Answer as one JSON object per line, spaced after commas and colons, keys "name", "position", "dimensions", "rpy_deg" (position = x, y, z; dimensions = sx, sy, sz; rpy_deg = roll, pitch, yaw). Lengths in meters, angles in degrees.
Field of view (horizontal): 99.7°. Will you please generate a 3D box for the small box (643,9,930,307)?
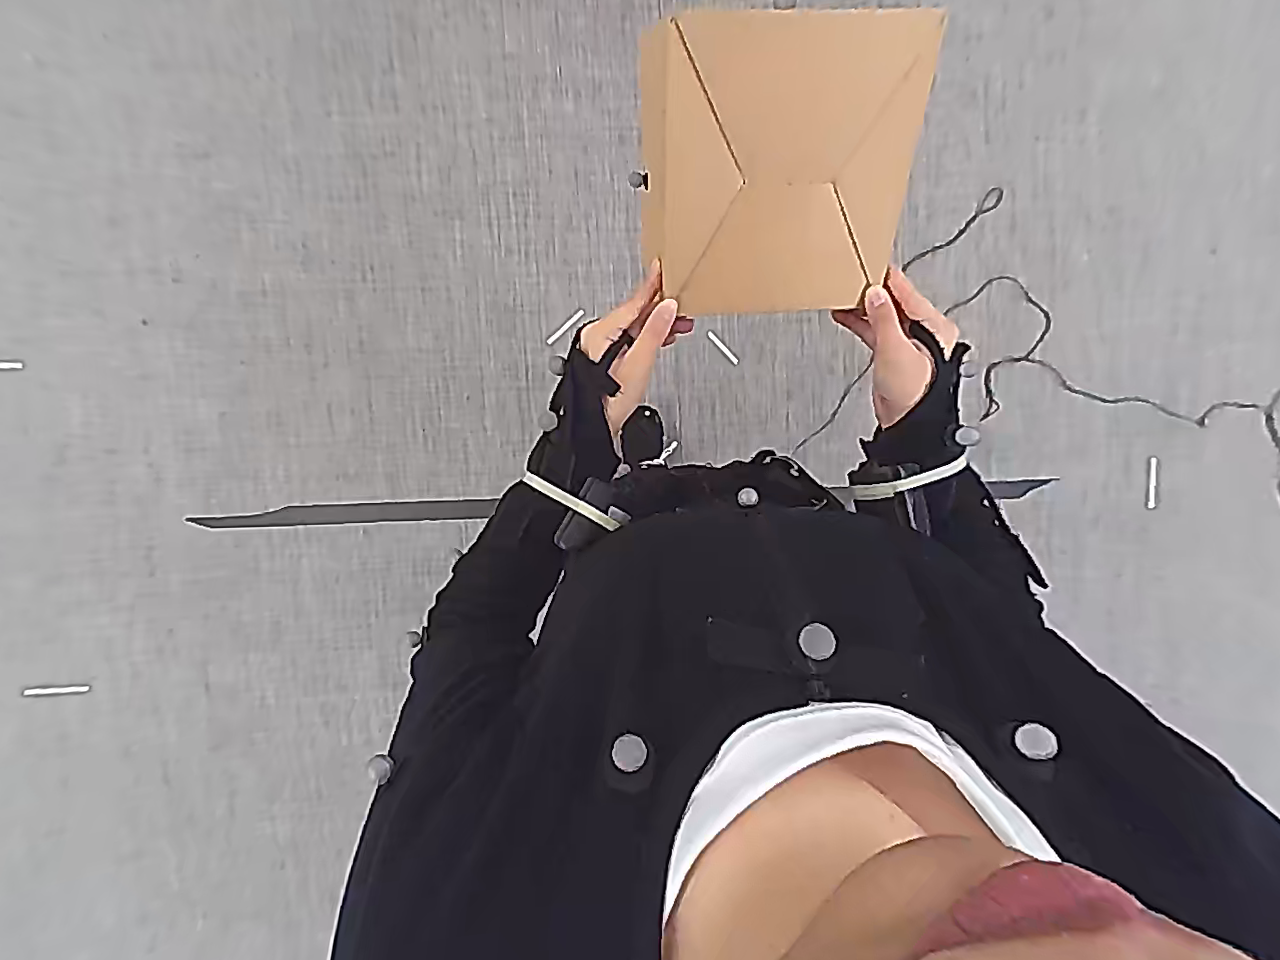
{"name": "small box", "position": [0.092, -0.249, 0.431], "dimensions": [0.168, 0.176, 0.179], "rpy_deg": [-4, 127, -4]}
